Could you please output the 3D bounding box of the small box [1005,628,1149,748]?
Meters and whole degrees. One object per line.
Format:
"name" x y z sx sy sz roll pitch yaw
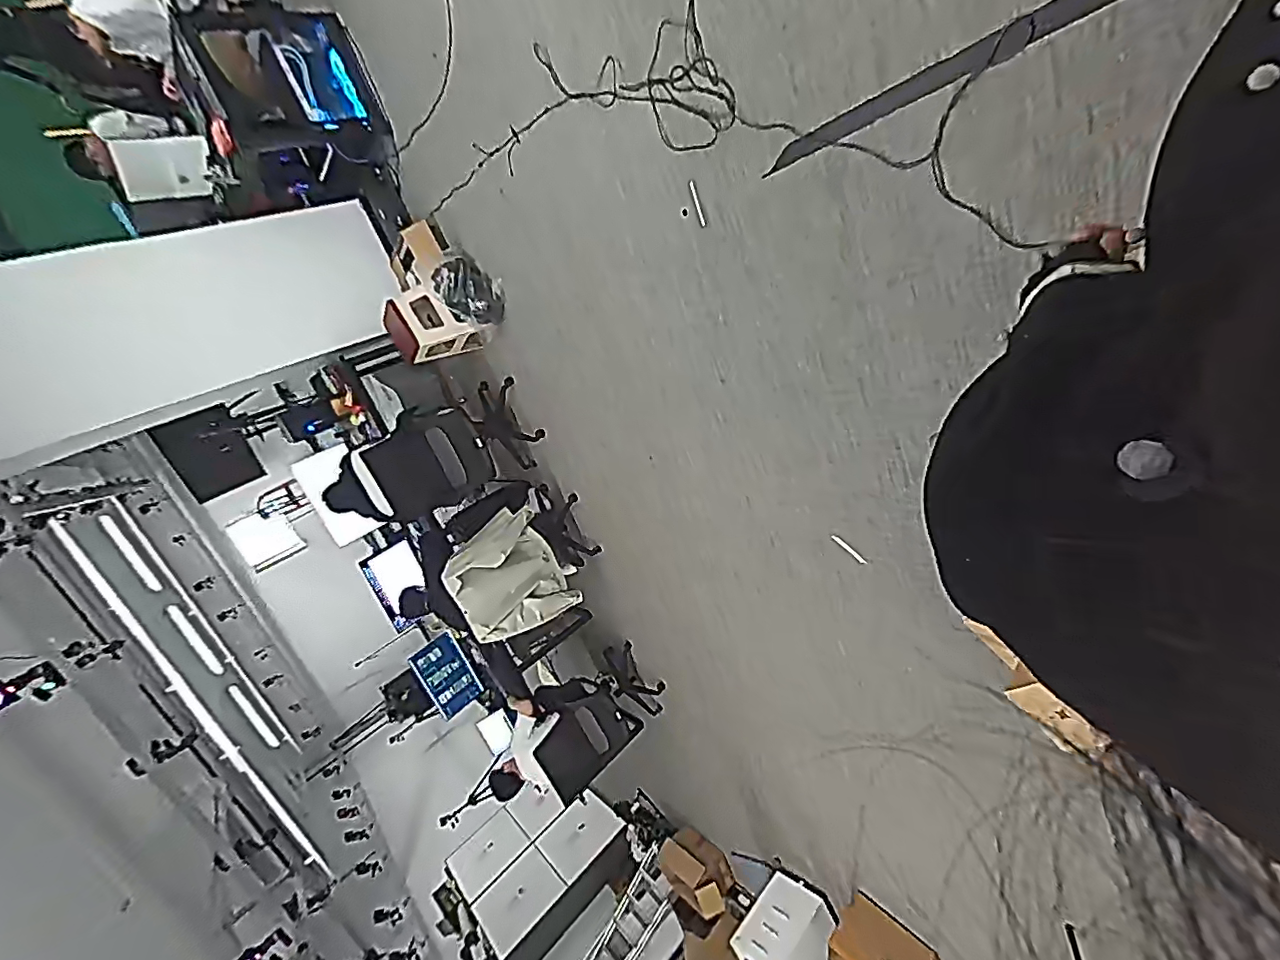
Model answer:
"small box" 0.964 0.454 1.191 0.168 0.176 0.179 47 147 15
